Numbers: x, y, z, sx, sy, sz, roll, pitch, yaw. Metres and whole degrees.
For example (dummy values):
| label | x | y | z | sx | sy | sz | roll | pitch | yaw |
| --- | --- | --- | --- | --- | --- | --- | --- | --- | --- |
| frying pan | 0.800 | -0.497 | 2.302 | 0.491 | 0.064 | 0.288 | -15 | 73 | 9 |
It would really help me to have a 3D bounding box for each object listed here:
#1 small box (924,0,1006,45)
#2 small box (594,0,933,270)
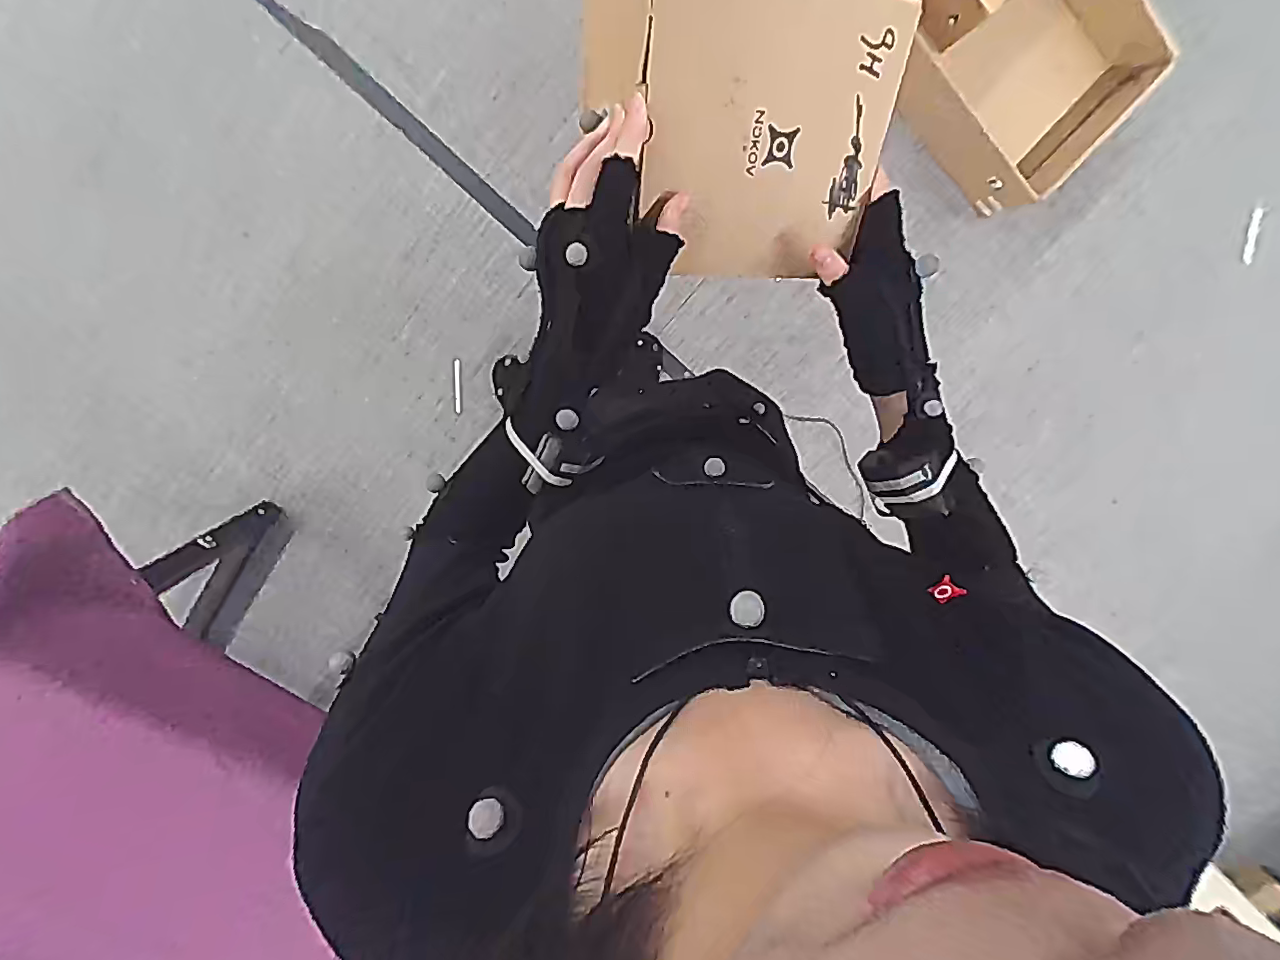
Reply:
| label | x | y | z | sx | sy | sz | roll | pitch | yaw |
| --- | --- | --- | --- | --- | --- | --- | --- | --- | --- |
| small box | 0.703 | -1.082 | 1.151 | 0.179 | 0.176 | 0.168 | 43 | 98 | -14 |
| small box | 0.066 | -0.265 | 0.408 | 0.179 | 0.176 | 0.168 | -5 | 125 | -16 |
